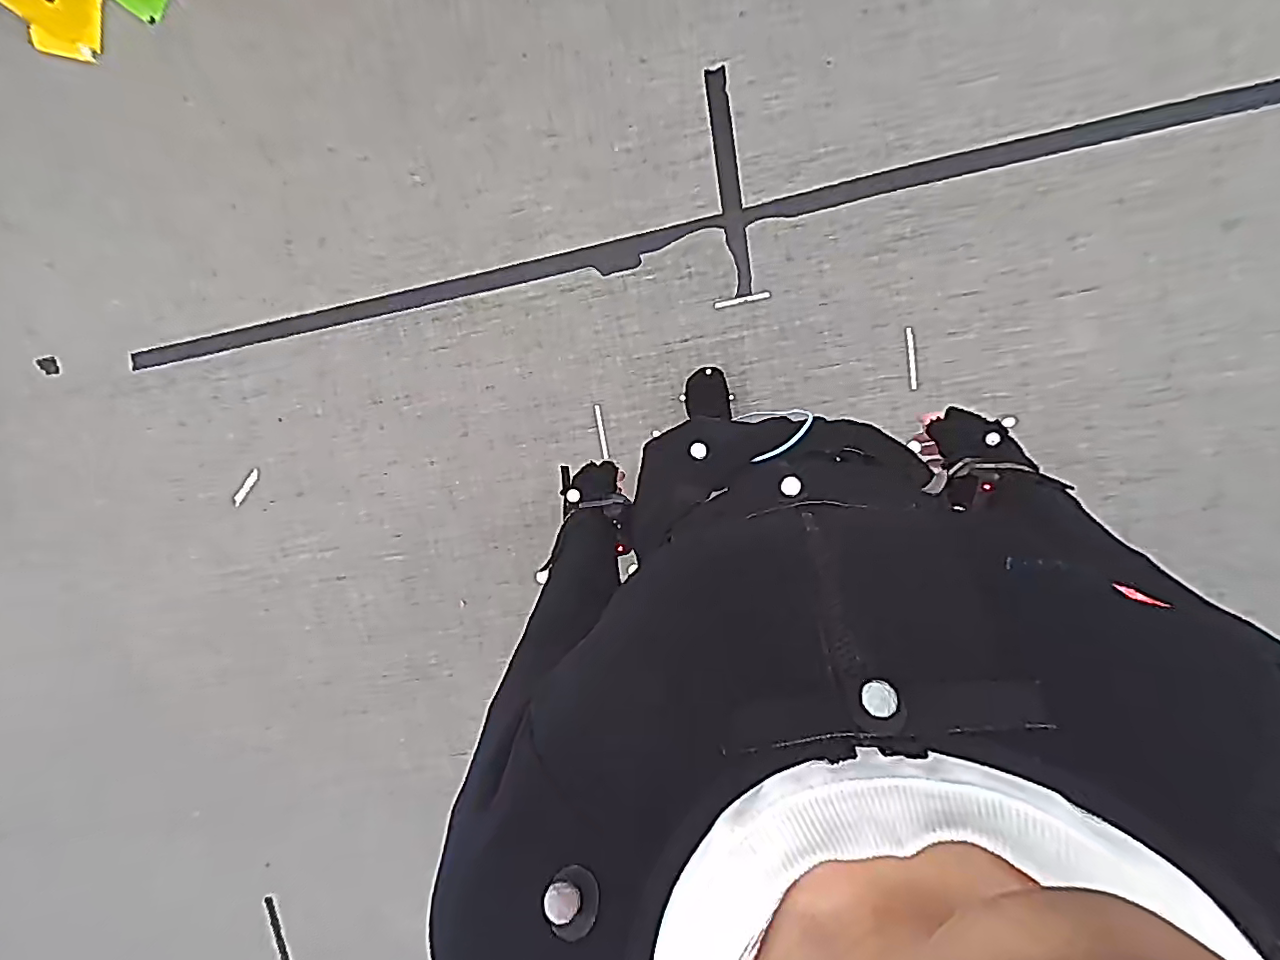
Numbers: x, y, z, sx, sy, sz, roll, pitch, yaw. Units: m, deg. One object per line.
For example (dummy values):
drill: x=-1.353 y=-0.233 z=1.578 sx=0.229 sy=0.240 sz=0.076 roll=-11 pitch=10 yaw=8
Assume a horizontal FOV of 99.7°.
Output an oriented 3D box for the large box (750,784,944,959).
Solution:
large box: x=0.514 y=1.061 z=1.435 sx=0.408 sy=0.320 sz=0.320 roll=3 pitch=100 yaw=5
